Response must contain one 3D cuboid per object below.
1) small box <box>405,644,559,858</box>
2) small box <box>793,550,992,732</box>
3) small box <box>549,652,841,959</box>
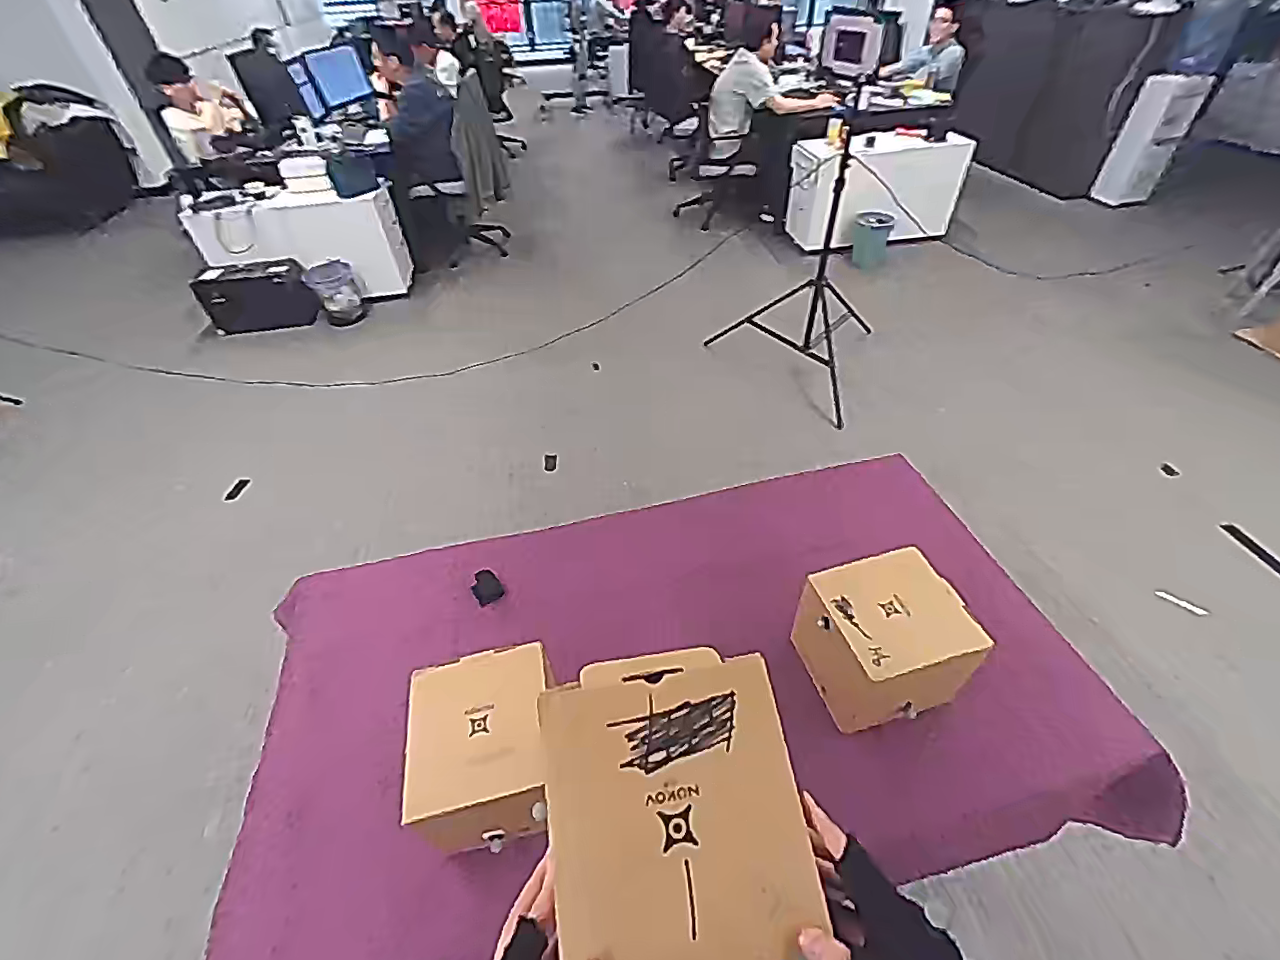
[{"bbox_3d":[-0.181,0.343,0.688,0.168,0.176,0.179,-12,45,-8],"label":"small box"},{"bbox_3d":[0.342,0.230,0.774,0.179,0.176,0.168,-12,44,-10],"label":"small box"},{"bbox_3d":[0.021,0.247,0.420,0.168,0.176,0.179,-7,65,-8],"label":"small box"}]
